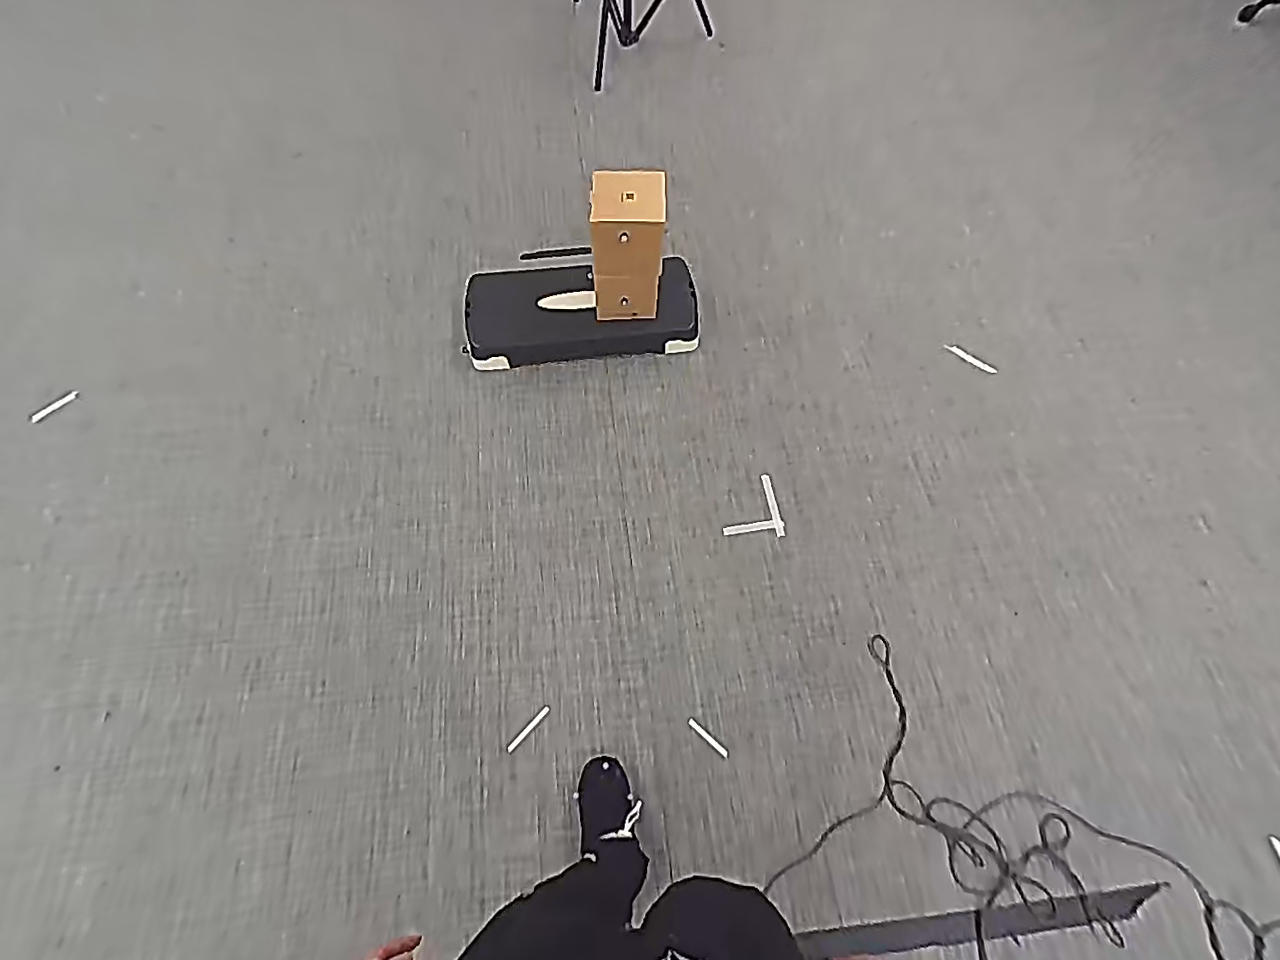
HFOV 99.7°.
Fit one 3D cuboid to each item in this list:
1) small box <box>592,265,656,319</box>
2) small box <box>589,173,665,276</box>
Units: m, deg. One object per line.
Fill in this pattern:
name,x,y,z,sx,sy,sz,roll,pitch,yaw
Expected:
small box,-0.044,-0.557,1.480,0.168,0.176,0.179,-2,67,-2
small box,-0.031,-0.622,1.331,0.179,0.176,0.168,0,67,0
